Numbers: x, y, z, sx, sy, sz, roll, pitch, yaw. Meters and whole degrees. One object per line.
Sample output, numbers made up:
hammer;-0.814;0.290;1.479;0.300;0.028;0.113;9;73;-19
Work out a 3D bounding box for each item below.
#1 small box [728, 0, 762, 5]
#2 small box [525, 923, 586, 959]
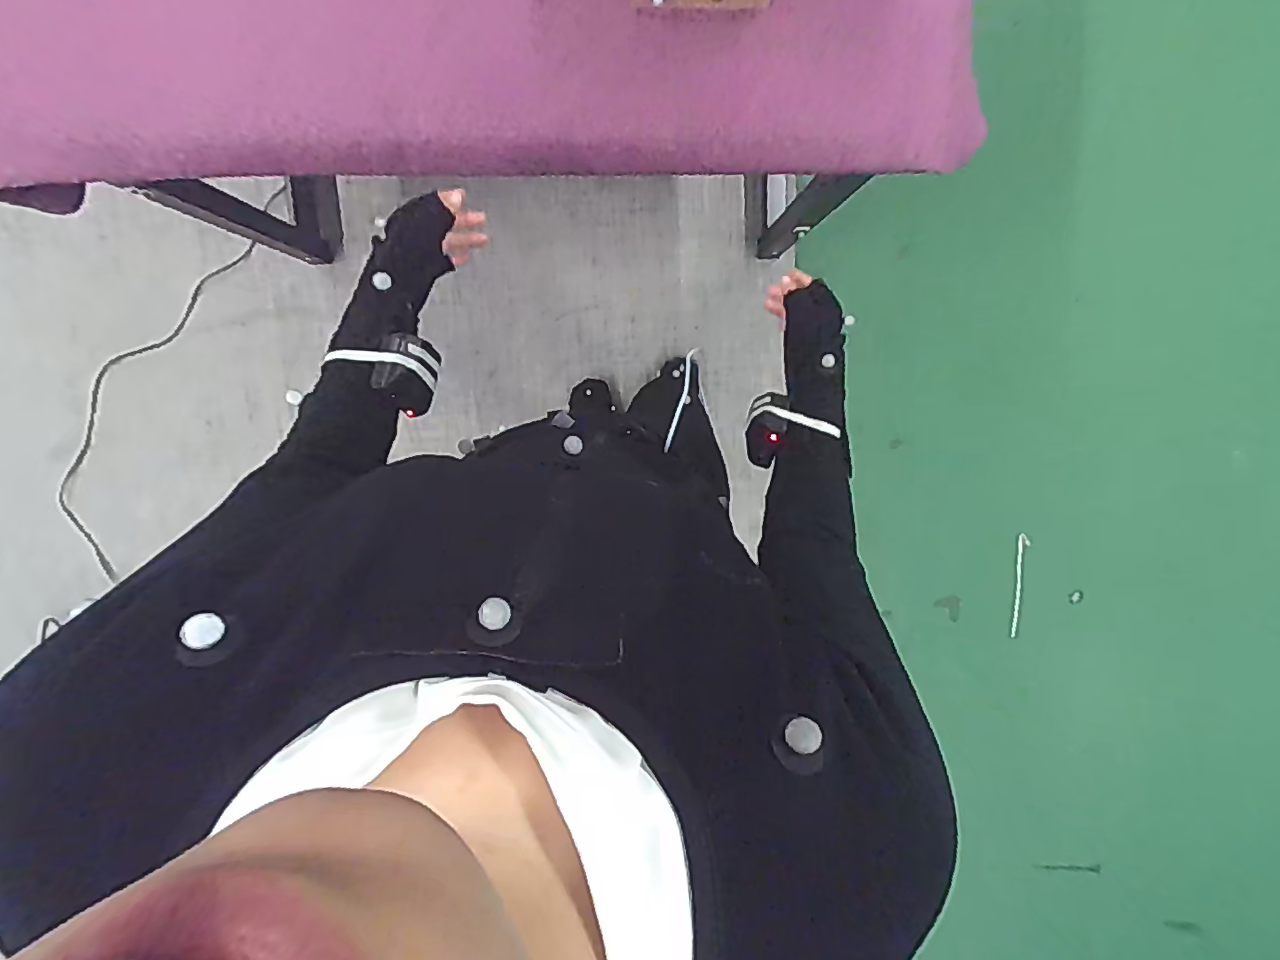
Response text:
small box;0.078;-0.630;0.542;0.168;0.176;0.179;2;100;-4
small box;-0.250;1.467;1.602;0.168;0.176;0.179;-3;101;-1
